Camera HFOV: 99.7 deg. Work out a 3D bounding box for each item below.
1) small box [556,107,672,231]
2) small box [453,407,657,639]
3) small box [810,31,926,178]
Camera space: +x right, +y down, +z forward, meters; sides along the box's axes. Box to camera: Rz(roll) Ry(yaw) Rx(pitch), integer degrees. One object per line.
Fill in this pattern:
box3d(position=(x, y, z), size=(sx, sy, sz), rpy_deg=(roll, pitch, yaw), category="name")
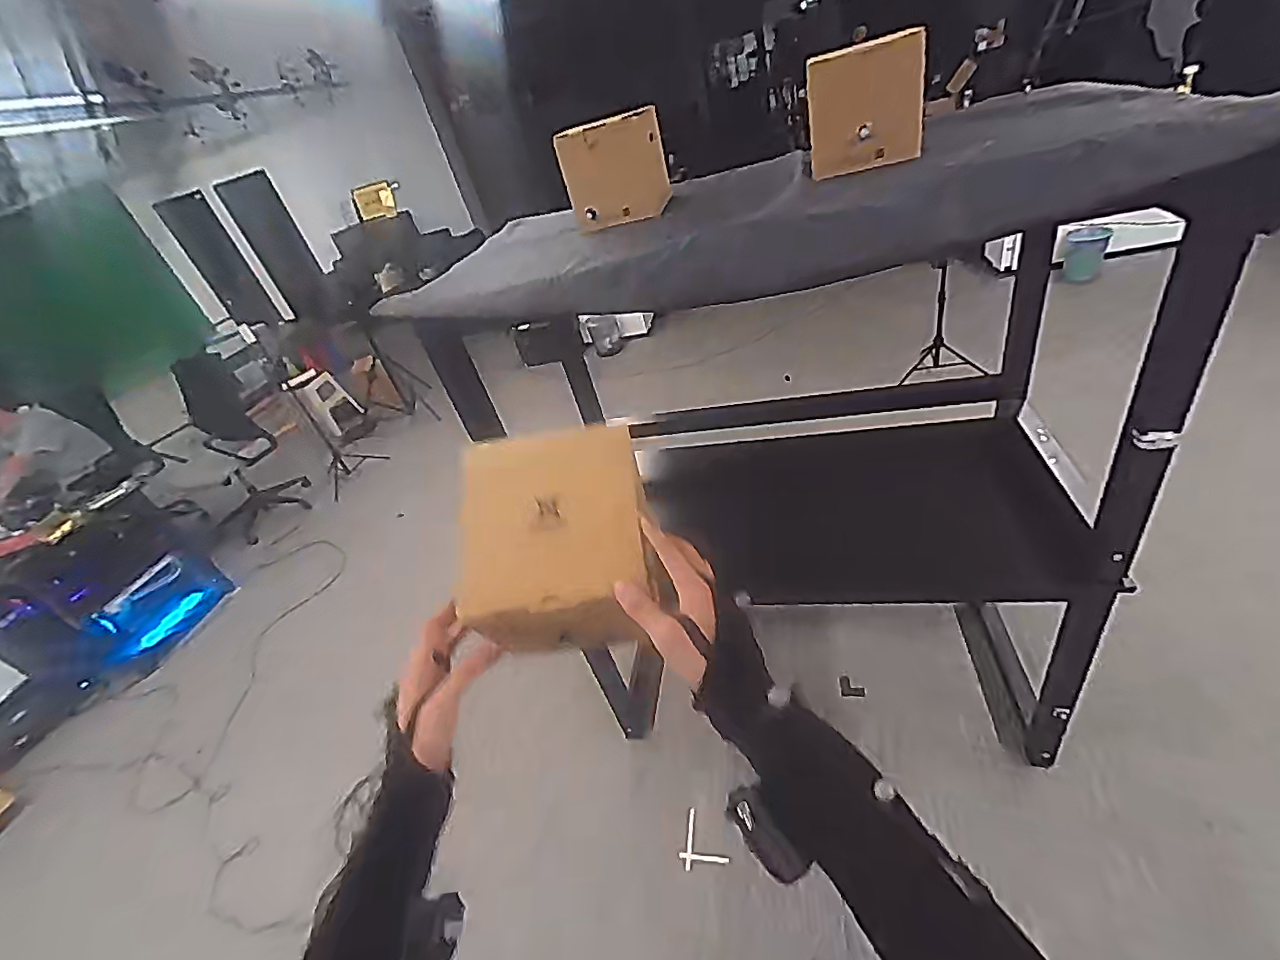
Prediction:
box3d(position=(-0.040, -0.607, 1.065), size=(0.168, 0.176, 0.179), rpy_deg=(-4, 36, 17), category="small box")
box3d(position=(-0.077, 0.052, 0.559), size=(0.168, 0.176, 0.179), rpy_deg=(-9, 62, 2), category="small box")
box3d(position=(0.379, -0.631, 0.919), size=(0.168, 0.176, 0.179), rpy_deg=(-4, 37, 20), category="small box")
